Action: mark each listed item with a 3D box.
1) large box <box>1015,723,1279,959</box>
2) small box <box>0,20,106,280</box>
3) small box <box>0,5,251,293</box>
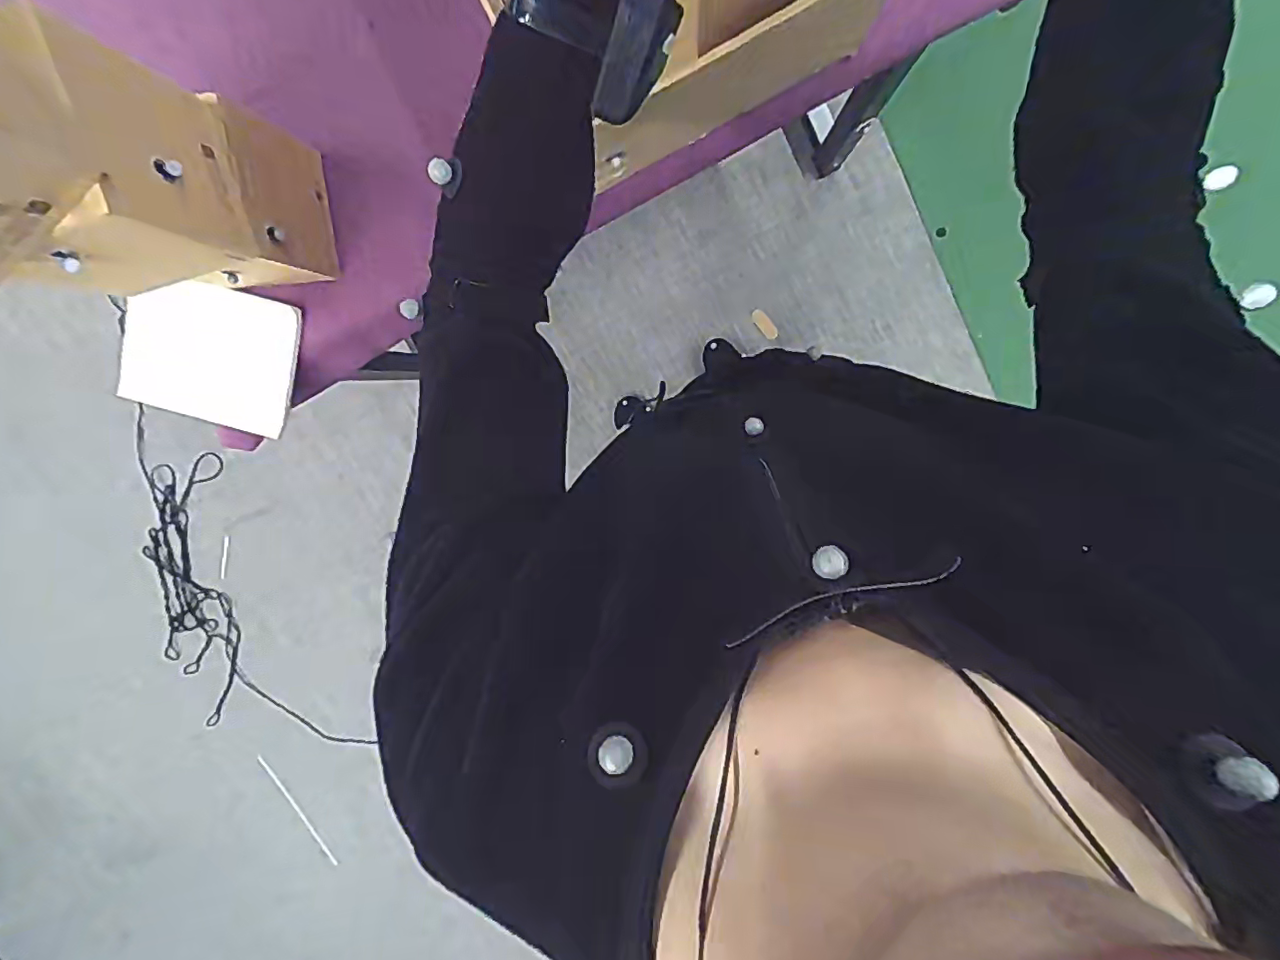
[{"bbox_3d":[1.323,0.939,1.415,0.408,0.320,0.320,-41,95,9],"label":"large box"},{"bbox_3d":[-0.547,-0.265,0.365,0.168,0.176,0.179,-34,96,11],"label":"small box"},{"bbox_3d":[-0.526,-0.294,0.526,0.179,0.176,0.168,-12,99,8],"label":"small box"}]
